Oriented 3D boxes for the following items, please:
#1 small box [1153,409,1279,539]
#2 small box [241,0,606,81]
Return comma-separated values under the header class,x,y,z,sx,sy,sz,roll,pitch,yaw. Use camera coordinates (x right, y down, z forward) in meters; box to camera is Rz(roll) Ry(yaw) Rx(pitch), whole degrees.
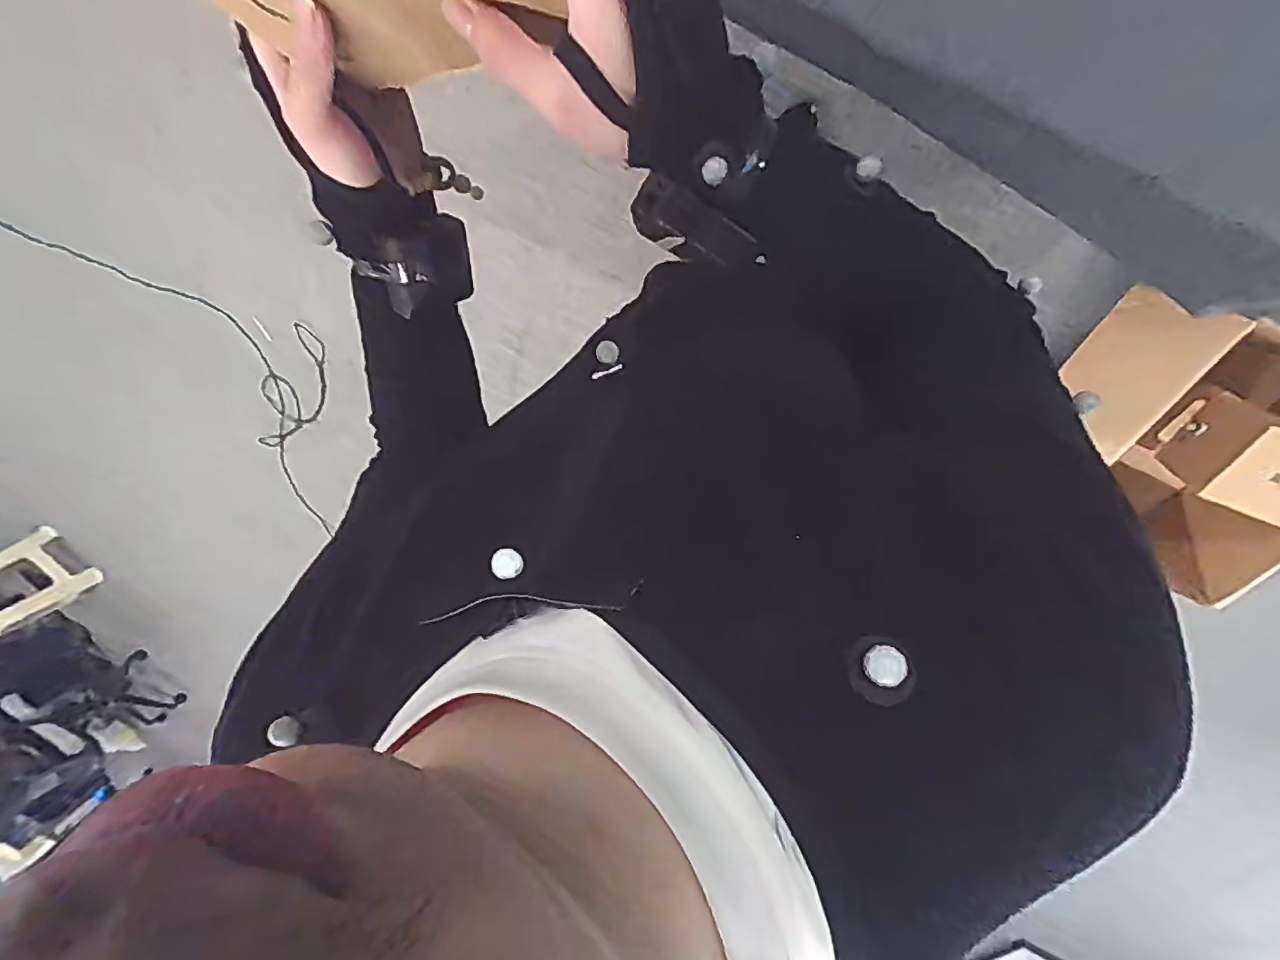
class,x,y,z,sx,sy,sz,roll,pitch,yaw
small box,1.194,-0.018,1.064,0.179,0.176,0.168,22,122,5
small box,-0.116,-0.305,0.205,0.179,0.168,0.176,8,91,23
